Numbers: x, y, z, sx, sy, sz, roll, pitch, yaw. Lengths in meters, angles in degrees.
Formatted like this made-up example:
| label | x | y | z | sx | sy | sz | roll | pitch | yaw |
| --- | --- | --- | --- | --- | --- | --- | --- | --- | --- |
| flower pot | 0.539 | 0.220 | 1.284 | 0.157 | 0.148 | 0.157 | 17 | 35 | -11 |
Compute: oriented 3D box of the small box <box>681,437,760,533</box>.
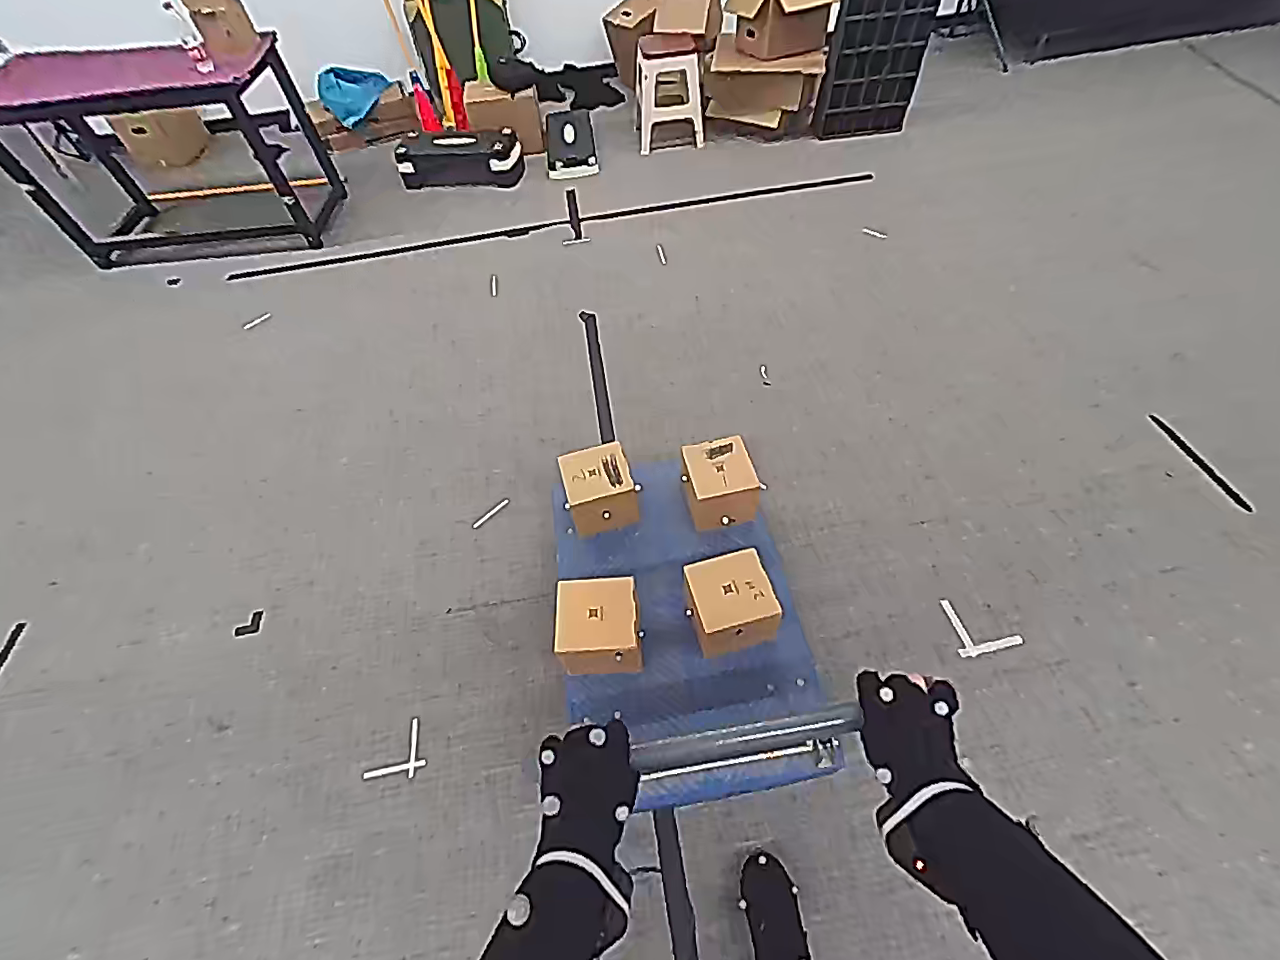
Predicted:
| label | x | y | z | sx | sy | sz | roll | pitch | yaw |
| --- | --- | --- | --- | --- | --- | --- | --- | --- | --- |
| small box | 0.207 | 0.016 | 1.448 | 0.168 | 0.176 | 0.179 | -12 | 55 | -4 |

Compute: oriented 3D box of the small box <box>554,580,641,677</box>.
| label | x | y | z | sx | sy | sz | roll | pitch | yaw |
| --- | --- | --- | --- | --- | --- | --- | --- | --- | --- |
| small box | -0.093 | 0.344 | 1.240 | 0.179 | 0.176 | 0.168 | -4 | 54 | 0 |

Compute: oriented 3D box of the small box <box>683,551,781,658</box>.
| label | x | y | z | sx | sy | sz | roll | pitch | yaw |
| --- | --- | --- | --- | --- | --- | --- | --- | --- | --- |
| small box | 0.206 | 0.292 | 1.250 | 0.179 | 0.176 | 0.168 | -14 | 55 | -5 |
